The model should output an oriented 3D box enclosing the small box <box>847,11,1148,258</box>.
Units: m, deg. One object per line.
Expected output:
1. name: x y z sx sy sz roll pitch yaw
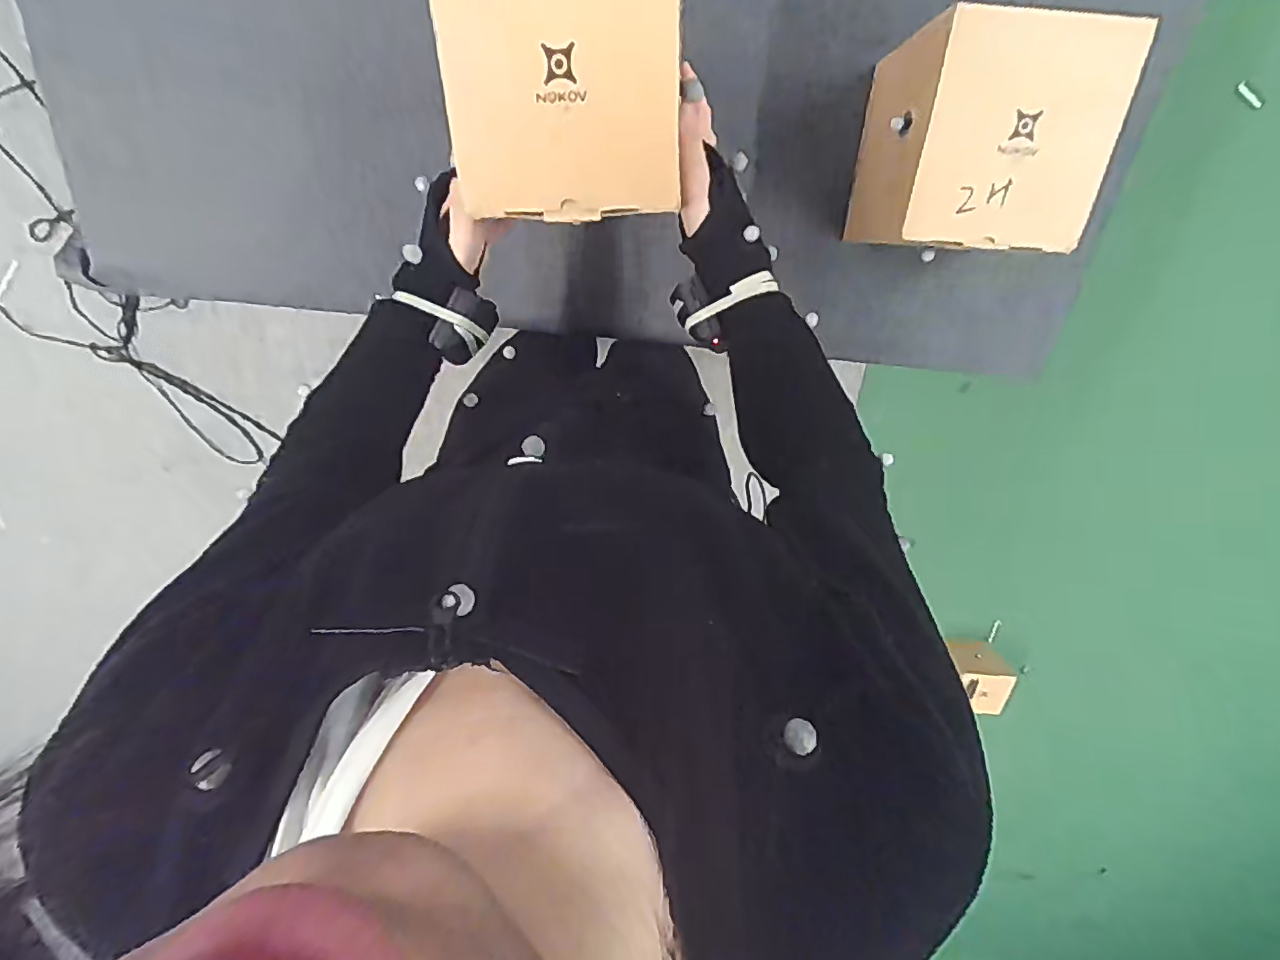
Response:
1. small box: 0.327 -0.324 0.542 0.168 0.176 0.179 4 114 0
